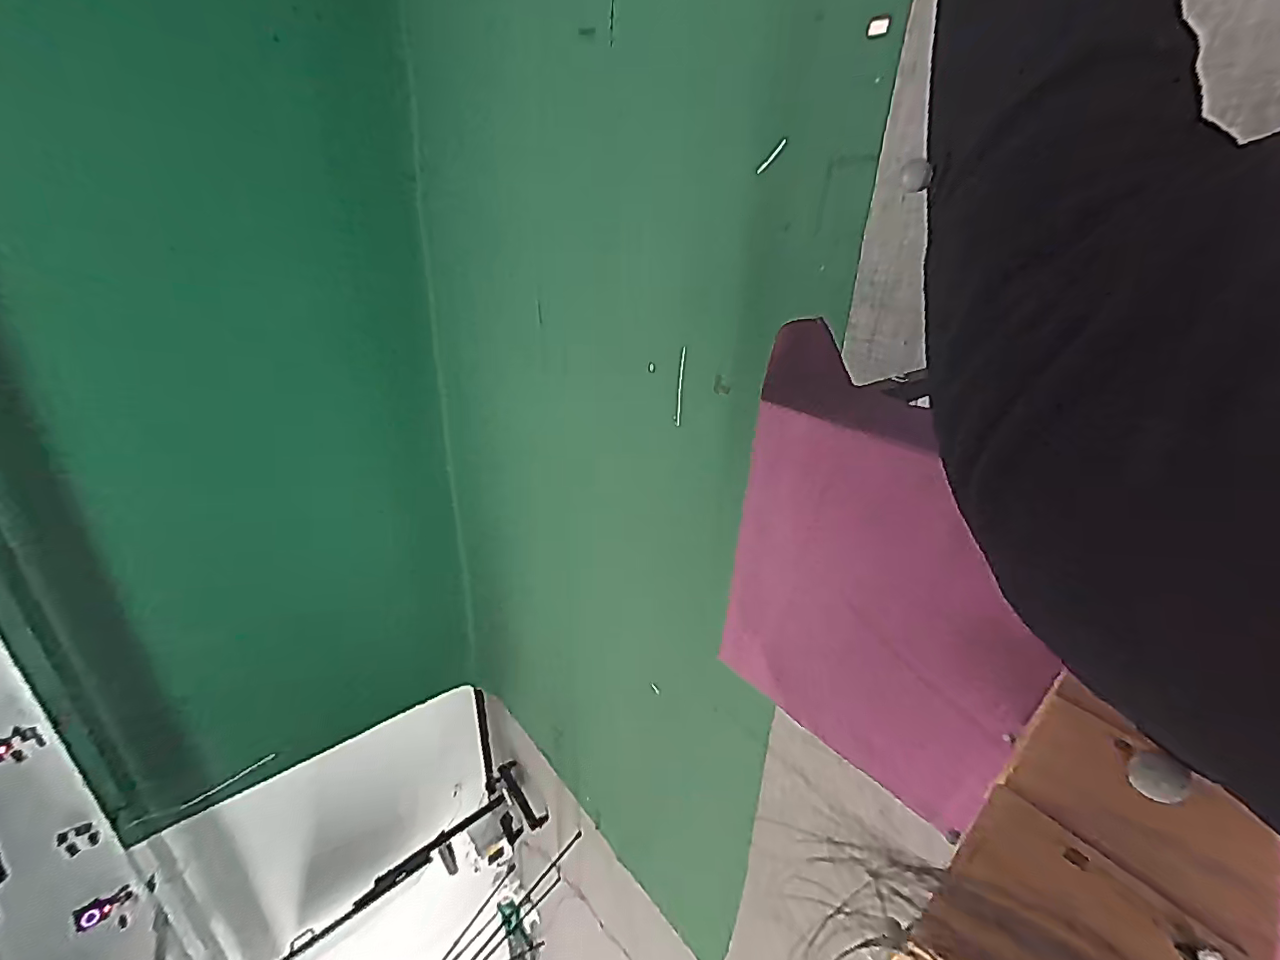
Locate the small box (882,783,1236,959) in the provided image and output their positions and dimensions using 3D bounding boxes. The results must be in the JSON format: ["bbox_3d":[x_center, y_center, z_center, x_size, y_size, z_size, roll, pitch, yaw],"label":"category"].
[{"bbox_3d":[0.286,0.368,0.389,0.168,0.176,0.179,32,128,40],"label":"small box"}]

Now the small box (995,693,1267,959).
[{"bbox_3d":[0.412,0.338,0.491,0.168,0.176,0.179,30,126,40],"label":"small box"}]

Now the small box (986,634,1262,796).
[{"bbox_3d":[0.532,0.310,0.600,0.168,0.176,0.179,32,127,39],"label":"small box"}]
